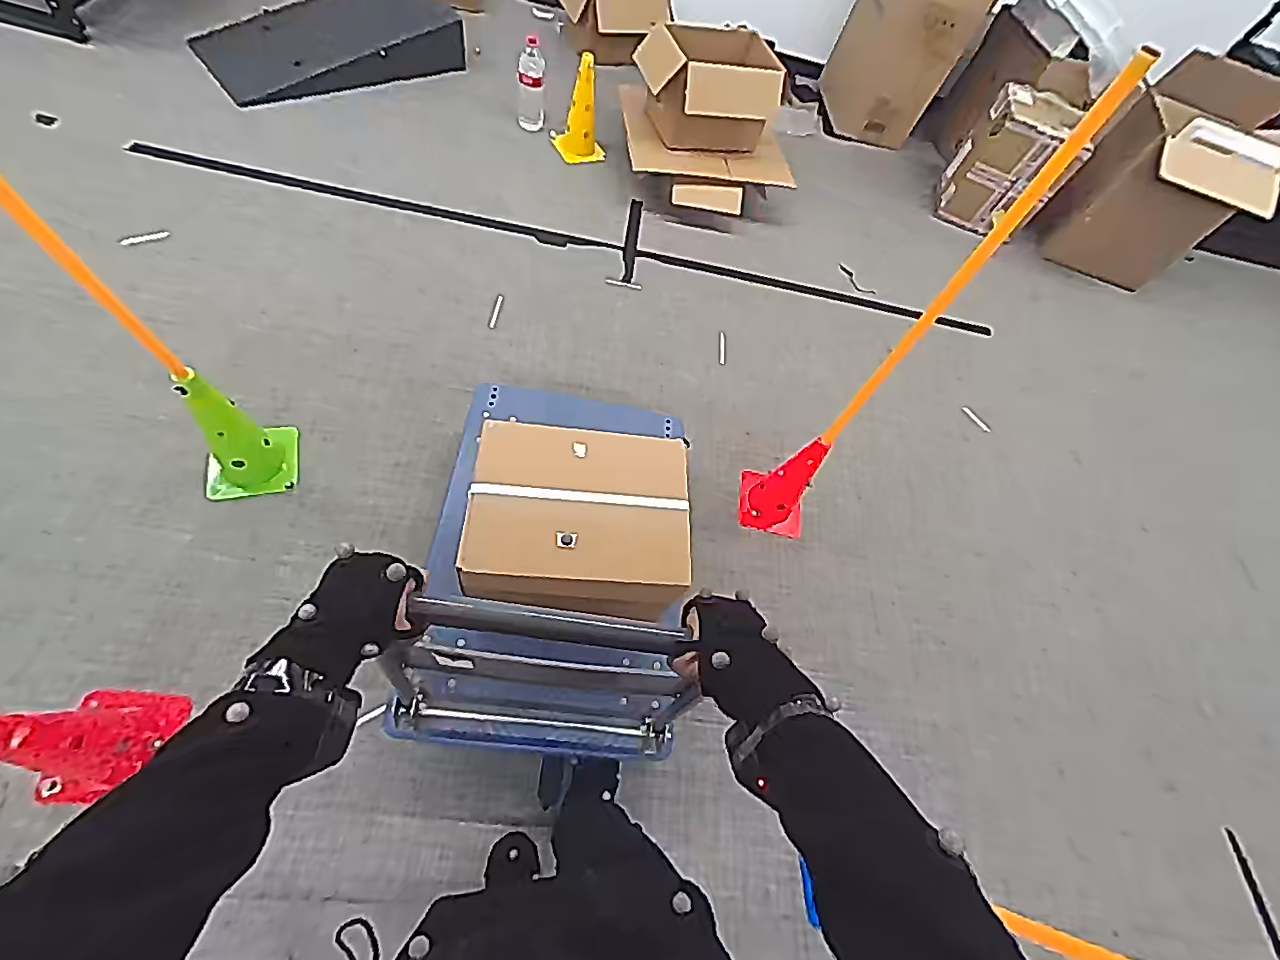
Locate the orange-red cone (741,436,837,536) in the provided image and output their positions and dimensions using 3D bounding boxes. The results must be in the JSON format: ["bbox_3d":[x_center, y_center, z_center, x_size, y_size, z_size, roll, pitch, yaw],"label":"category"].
[{"bbox_3d":[0.446,-0.014,1.513,0.199,0.360,0.198,16,60,-5],"label":"orange-red cone"}]

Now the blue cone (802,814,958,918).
[{"bbox_3d":[0.502,0.791,1.090,0.193,0.380,0.192,6,59,-10],"label":"blue cone"}]
